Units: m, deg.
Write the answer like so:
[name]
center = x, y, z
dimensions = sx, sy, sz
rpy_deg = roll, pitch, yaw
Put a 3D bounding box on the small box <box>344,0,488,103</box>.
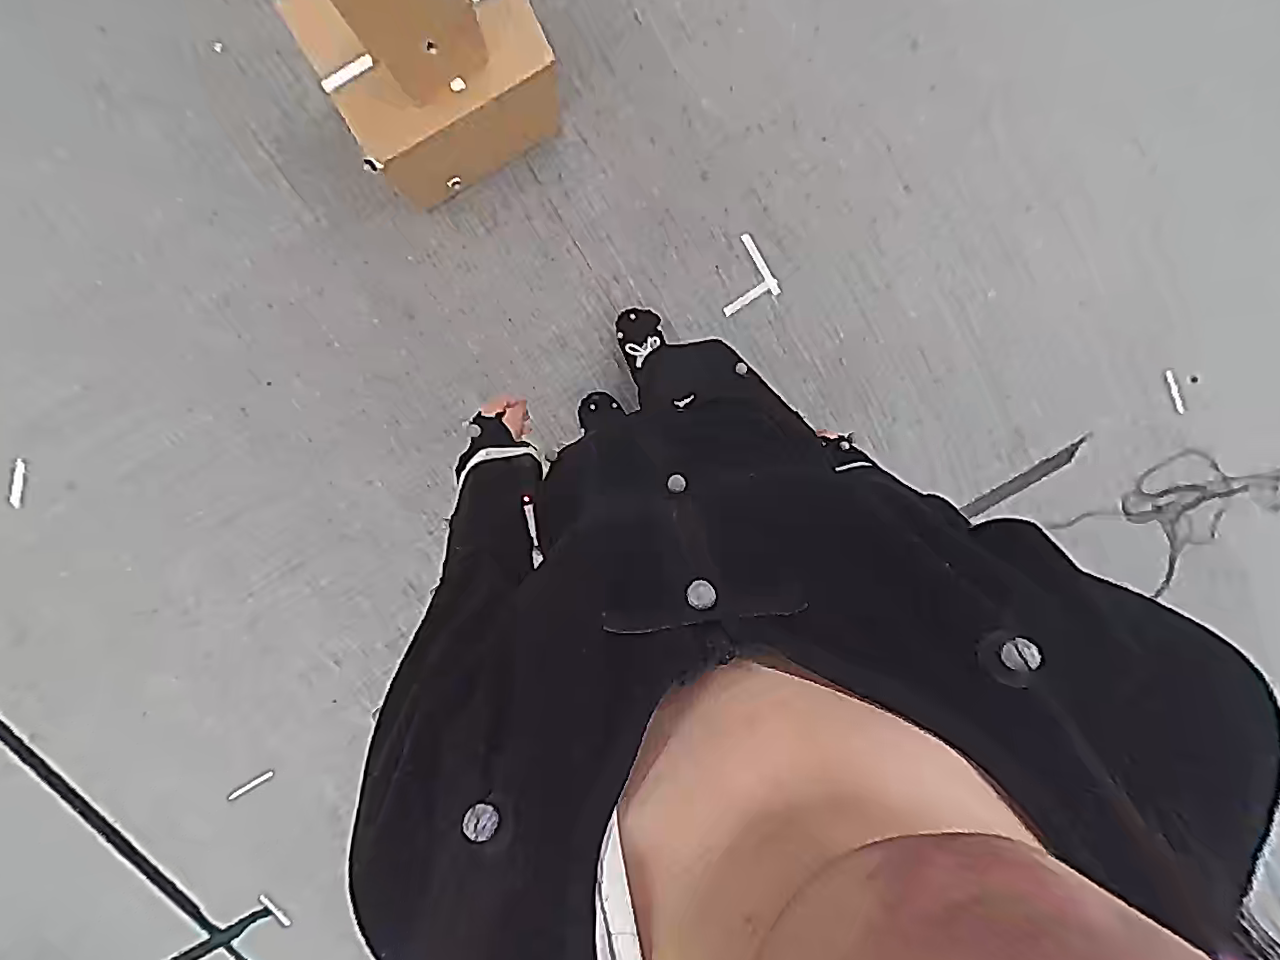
[small box]
center = -0.383, -0.792, 0.914
dimensions = 0.179, 0.176, 0.168
rpy_deg = -32, 103, 2
